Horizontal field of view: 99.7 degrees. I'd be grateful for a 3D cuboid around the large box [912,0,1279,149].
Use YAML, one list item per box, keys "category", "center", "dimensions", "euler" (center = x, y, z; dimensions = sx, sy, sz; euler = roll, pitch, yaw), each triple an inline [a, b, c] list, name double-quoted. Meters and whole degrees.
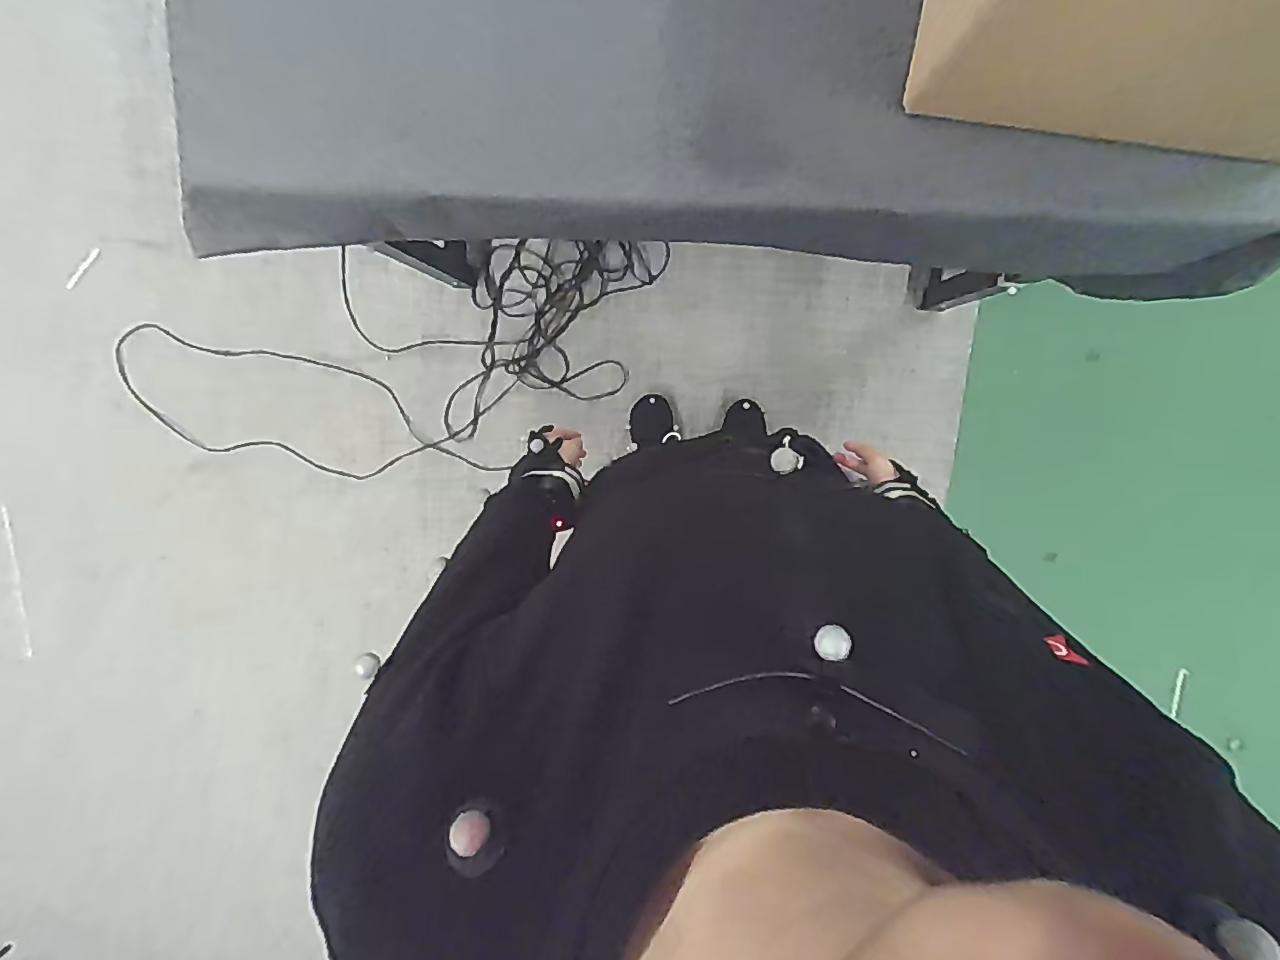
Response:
- category: "large box"
  center: [0.481, -0.483, 0.382]
  dimensions: [0.408, 0.320, 0.320]
  euler: [8, 100, 1]
